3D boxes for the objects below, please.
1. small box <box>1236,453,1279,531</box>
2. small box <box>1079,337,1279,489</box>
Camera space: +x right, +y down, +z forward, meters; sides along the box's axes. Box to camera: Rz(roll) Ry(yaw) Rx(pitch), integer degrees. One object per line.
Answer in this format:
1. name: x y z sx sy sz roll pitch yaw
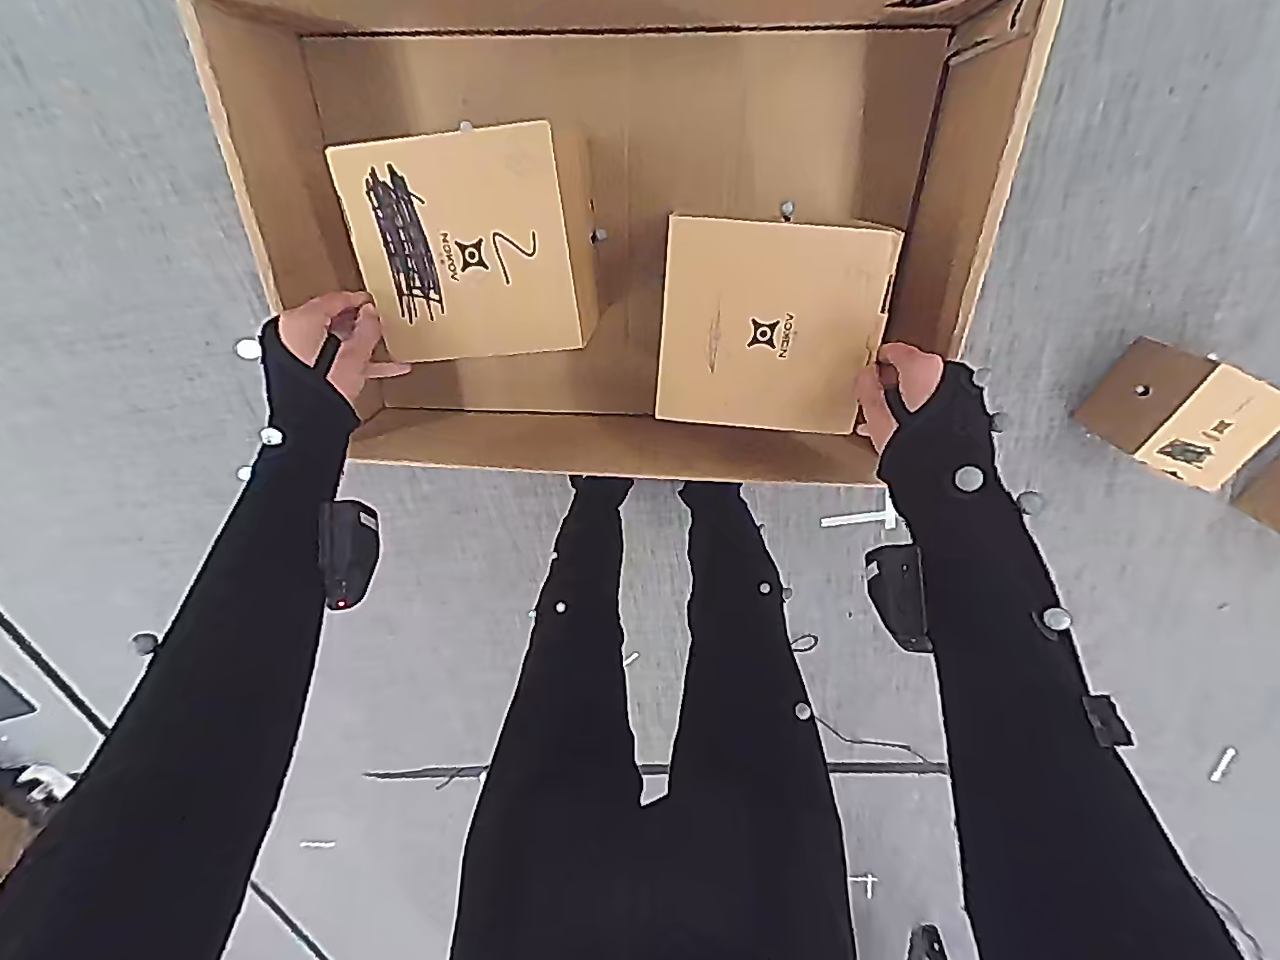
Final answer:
1. small box: 1.276 0.037 0.979 0.168 0.176 0.179 16 117 -3
2. small box: 0.915 -0.120 0.931 0.168 0.176 0.179 22 117 -6
